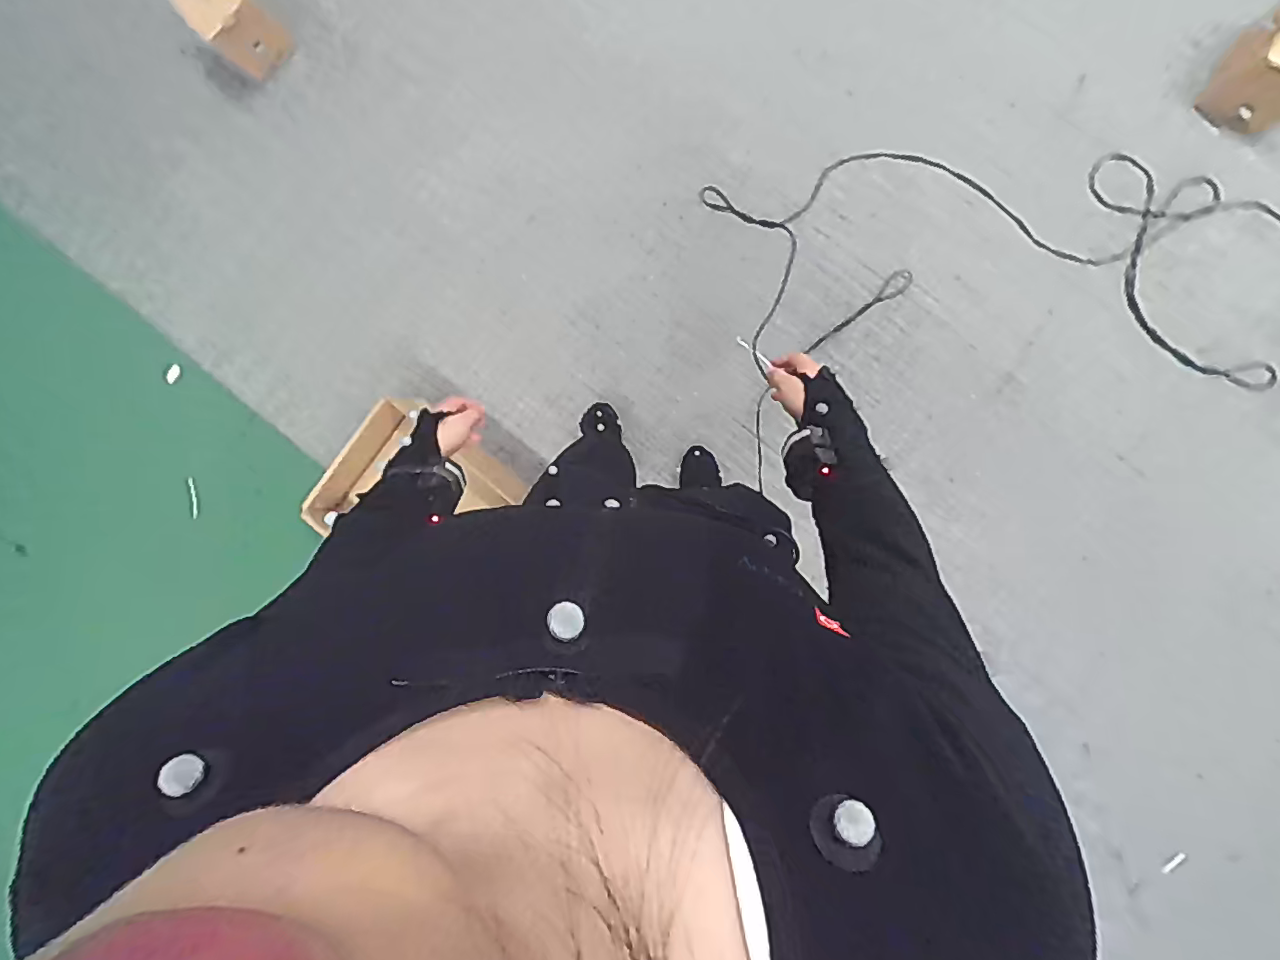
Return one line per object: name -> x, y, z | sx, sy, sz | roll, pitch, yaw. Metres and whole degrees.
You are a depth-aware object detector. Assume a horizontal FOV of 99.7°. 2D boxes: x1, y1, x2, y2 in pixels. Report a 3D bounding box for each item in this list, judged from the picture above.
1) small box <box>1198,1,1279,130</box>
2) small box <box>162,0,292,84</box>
small box -> 1.388, -0.912, 1.165 | 0.168, 0.176, 0.179 | 29, 98, 3
small box -> -1.063, -1.184, 1.408 | 0.168, 0.176, 0.179 | -40, 90, 8
